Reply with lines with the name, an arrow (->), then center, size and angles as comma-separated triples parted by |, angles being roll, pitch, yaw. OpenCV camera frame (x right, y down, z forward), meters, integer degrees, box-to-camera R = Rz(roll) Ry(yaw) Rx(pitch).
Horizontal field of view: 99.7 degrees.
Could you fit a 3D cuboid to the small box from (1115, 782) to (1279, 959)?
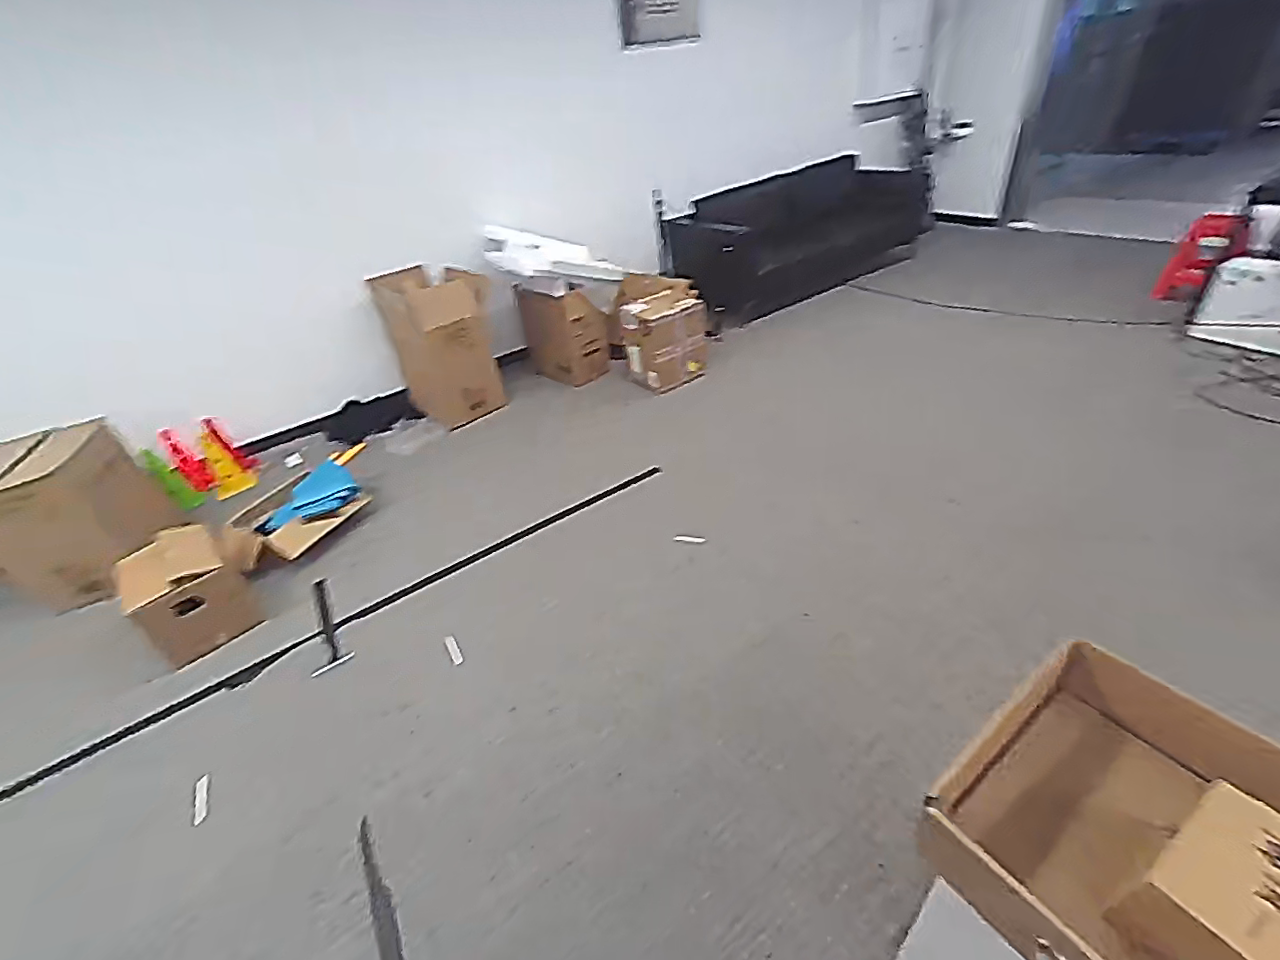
small box -> 0.707, 0.505, 0.628 | 0.179, 0.176, 0.168 | -31, 40, -19
